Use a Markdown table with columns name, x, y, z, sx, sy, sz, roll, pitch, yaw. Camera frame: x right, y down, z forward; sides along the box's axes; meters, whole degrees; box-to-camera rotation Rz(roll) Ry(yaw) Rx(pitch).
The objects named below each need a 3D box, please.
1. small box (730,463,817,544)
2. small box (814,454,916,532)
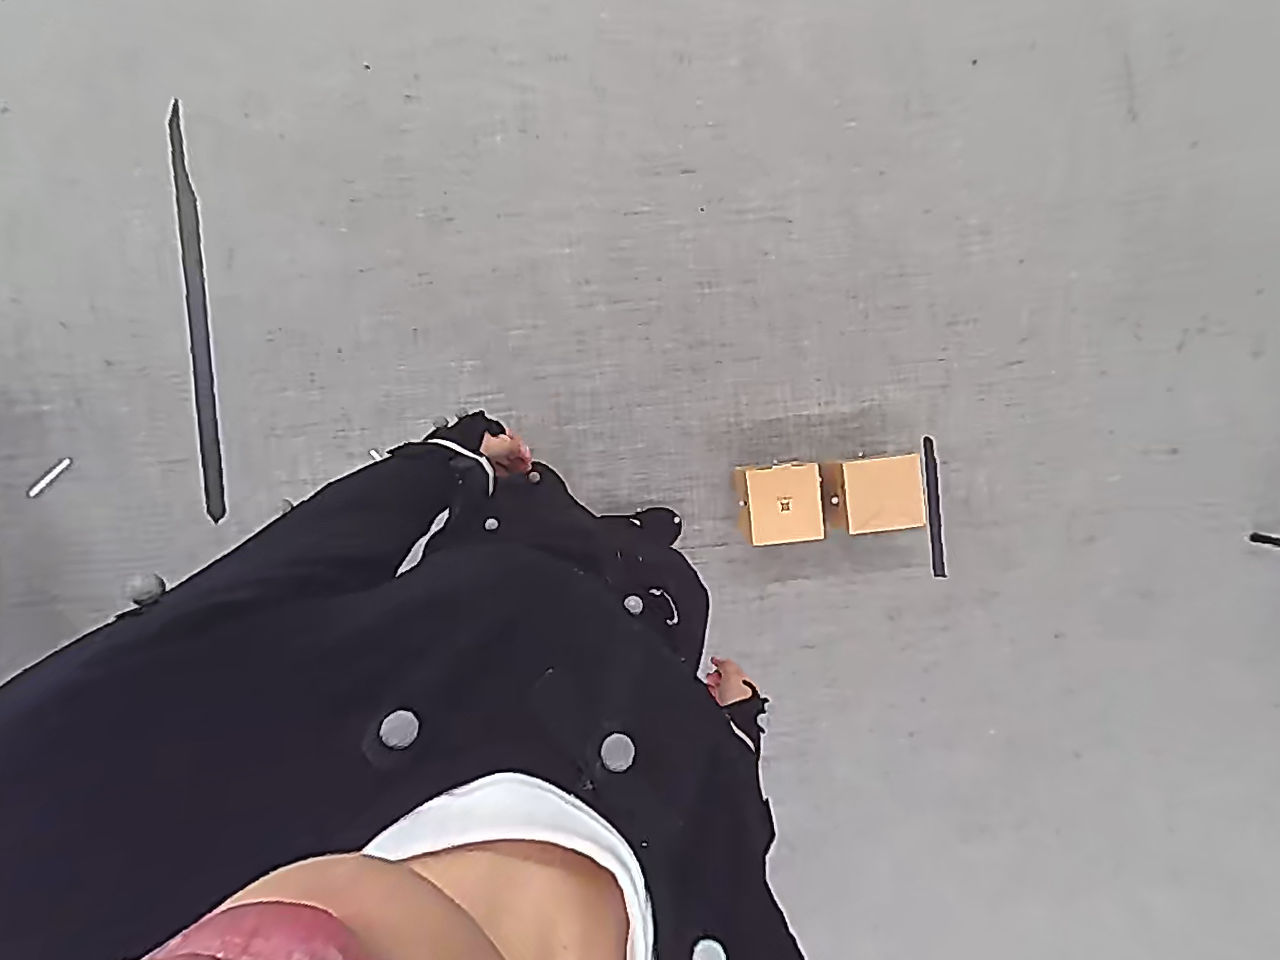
| name | x | y | z | sx | sy | sz | roll | pitch | yaw |
| --- | --- | --- | --- | --- | --- | --- | --- | --- | --- |
| small box | 0.320 | 0.052 | 1.318 | 0.168 | 0.176 | 0.179 | -6 | 92 | 0 |
| small box | 0.543 | 0.028 | 1.314 | 0.179 | 0.176 | 0.168 | -7 | 92 | -1 |
